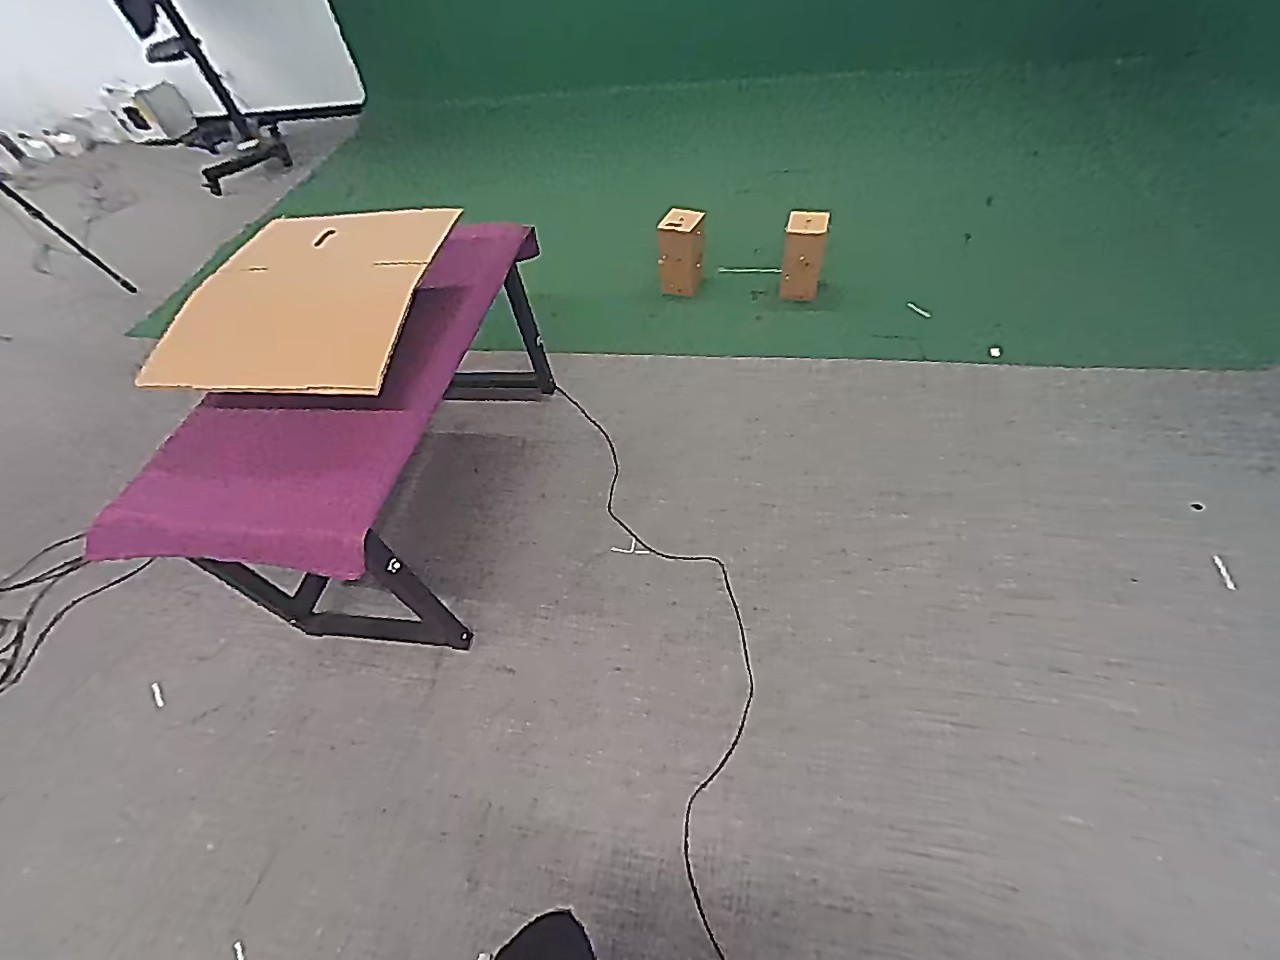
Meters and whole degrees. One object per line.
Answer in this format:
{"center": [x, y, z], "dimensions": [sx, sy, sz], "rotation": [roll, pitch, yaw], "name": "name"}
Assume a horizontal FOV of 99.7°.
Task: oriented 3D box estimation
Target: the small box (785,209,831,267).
{"center": [0.736, -1.066, 2.379], "dimensions": [0.168, 0.176, 0.179], "rotation": [10, 55, 15], "name": "small box"}

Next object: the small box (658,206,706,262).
{"center": [0.202, -1.141, 2.514], "dimensions": [0.168, 0.176, 0.179], "rotation": [20, 58, 21], "name": "small box"}

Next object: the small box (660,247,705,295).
{"center": [0.211, -1.039, 2.643], "dimensions": [0.168, 0.176, 0.179], "rotation": [17, 59, 19], "name": "small box"}
